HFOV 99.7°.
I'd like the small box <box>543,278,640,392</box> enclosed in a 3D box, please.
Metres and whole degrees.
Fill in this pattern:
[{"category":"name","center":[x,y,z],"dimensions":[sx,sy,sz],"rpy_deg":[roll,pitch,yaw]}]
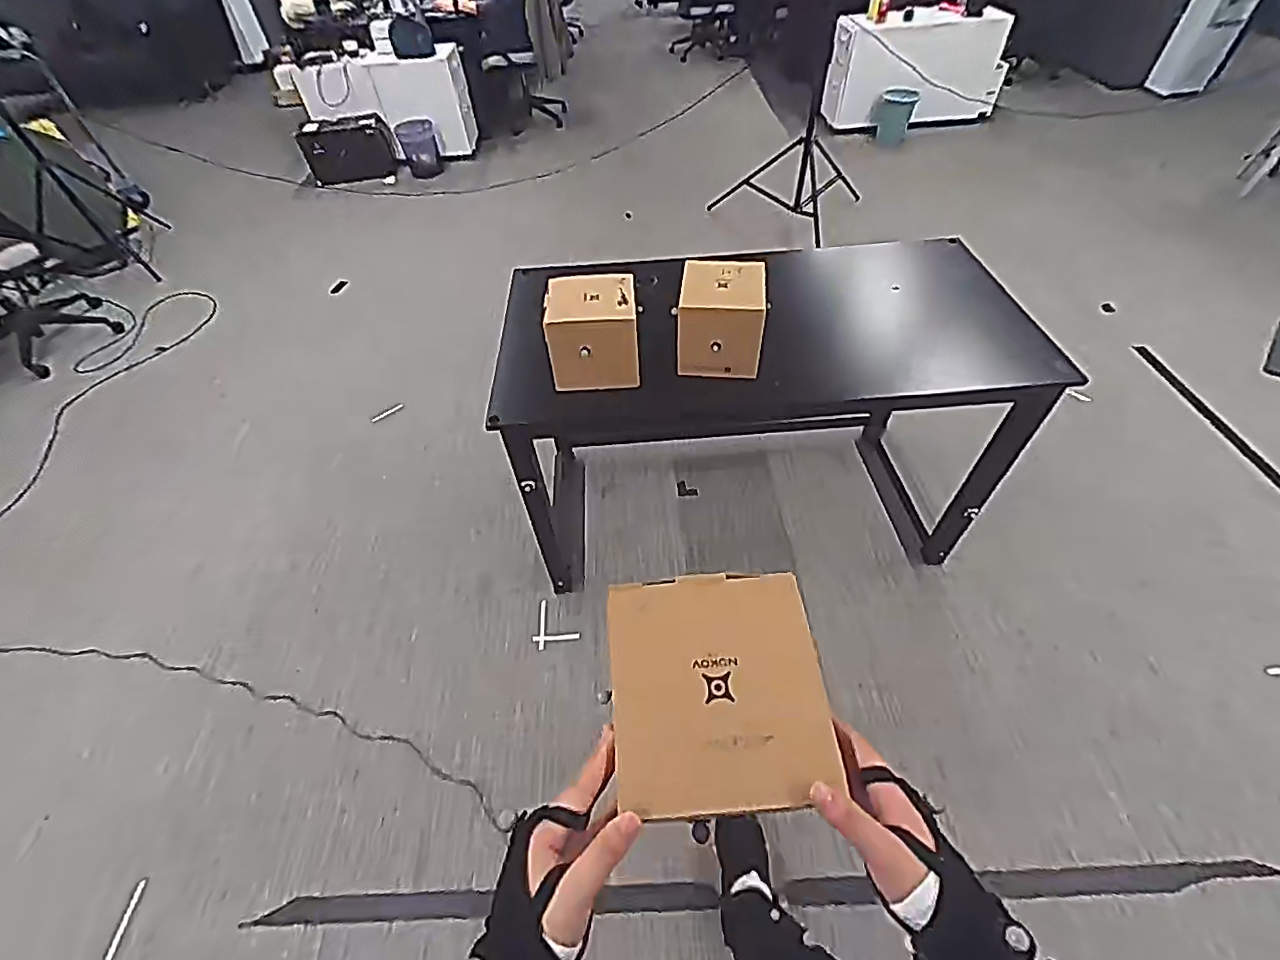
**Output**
[{"category":"small box","center":[-0.094,-0.298,1.127],"dimensions":[0.179,0.176,0.168],"rpy_deg":[-4,50,1]}]

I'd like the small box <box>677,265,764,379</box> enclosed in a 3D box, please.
[{"category":"small box","center":[0.168,-0.329,1.136],"dimensions":[0.168,0.176,0.179],"rpy_deg":[5,50,7]}]

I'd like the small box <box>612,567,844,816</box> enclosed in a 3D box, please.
[{"category":"small box","center":[0.059,0.197,0.497],"dimensions":[0.168,0.176,0.179],"rpy_deg":[-3,57,-3]}]
